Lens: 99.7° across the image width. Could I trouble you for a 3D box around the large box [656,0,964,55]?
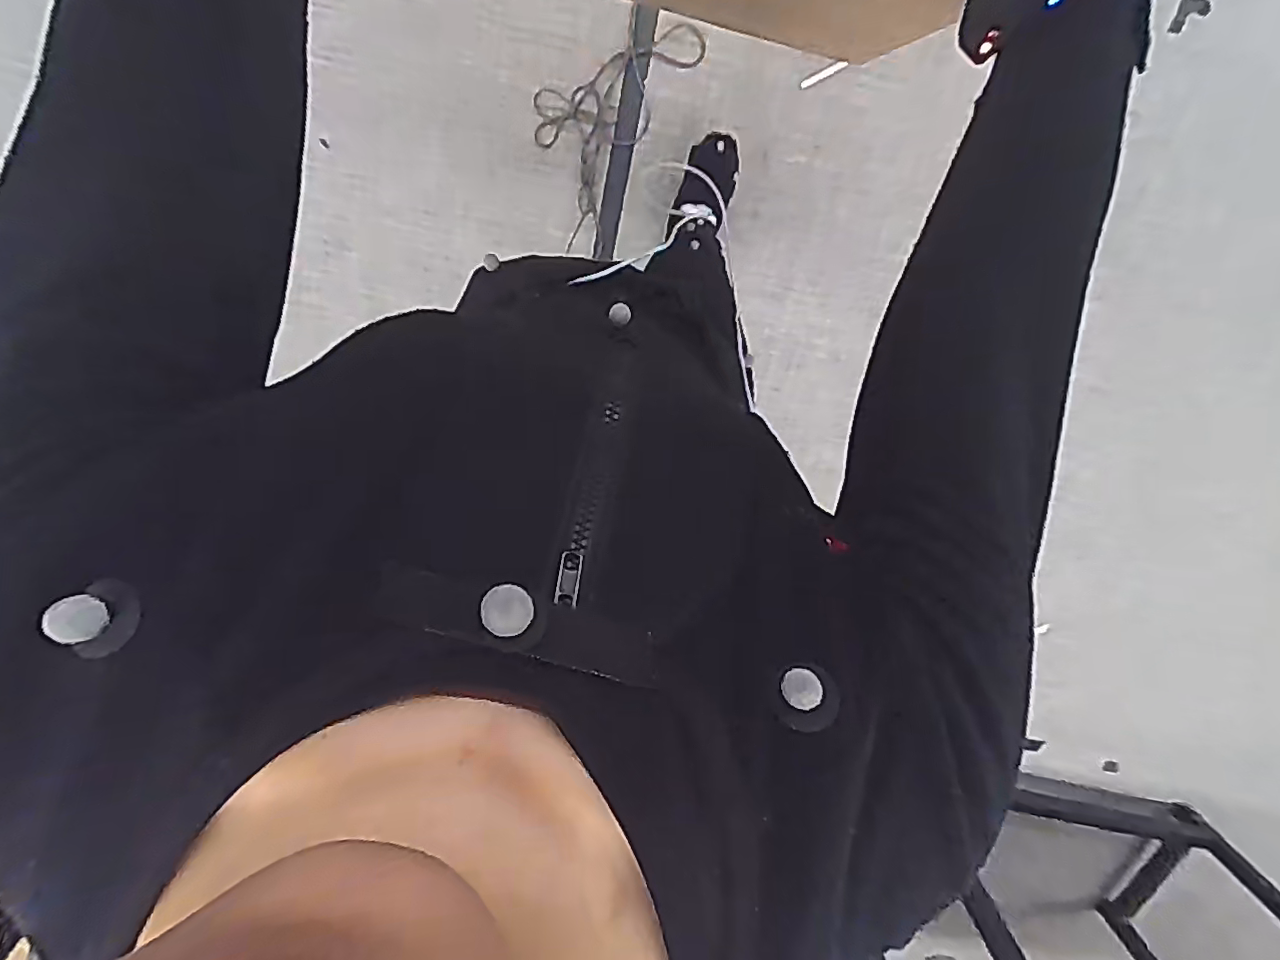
[{"bbox_3d":[0.083,-0.564,0.387,0.408,0.320,0.320,12,122,-5],"label":"large box"}]
